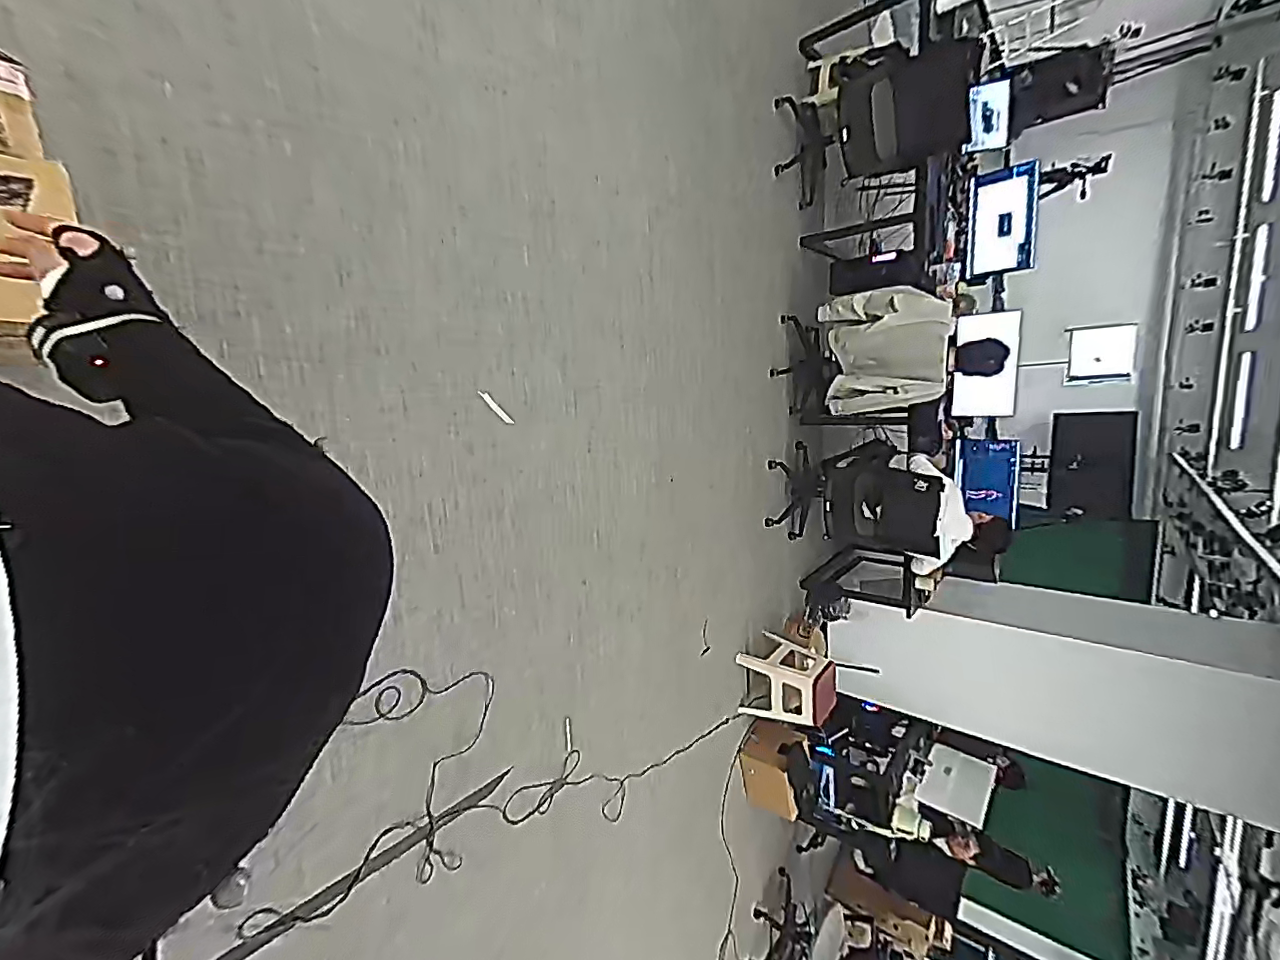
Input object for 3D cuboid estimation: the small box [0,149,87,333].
[{"bbox_3d":[-0.754,-0.263,0.596,0.168,0.176,0.179,-13,106,-50],"label":"small box"}]
